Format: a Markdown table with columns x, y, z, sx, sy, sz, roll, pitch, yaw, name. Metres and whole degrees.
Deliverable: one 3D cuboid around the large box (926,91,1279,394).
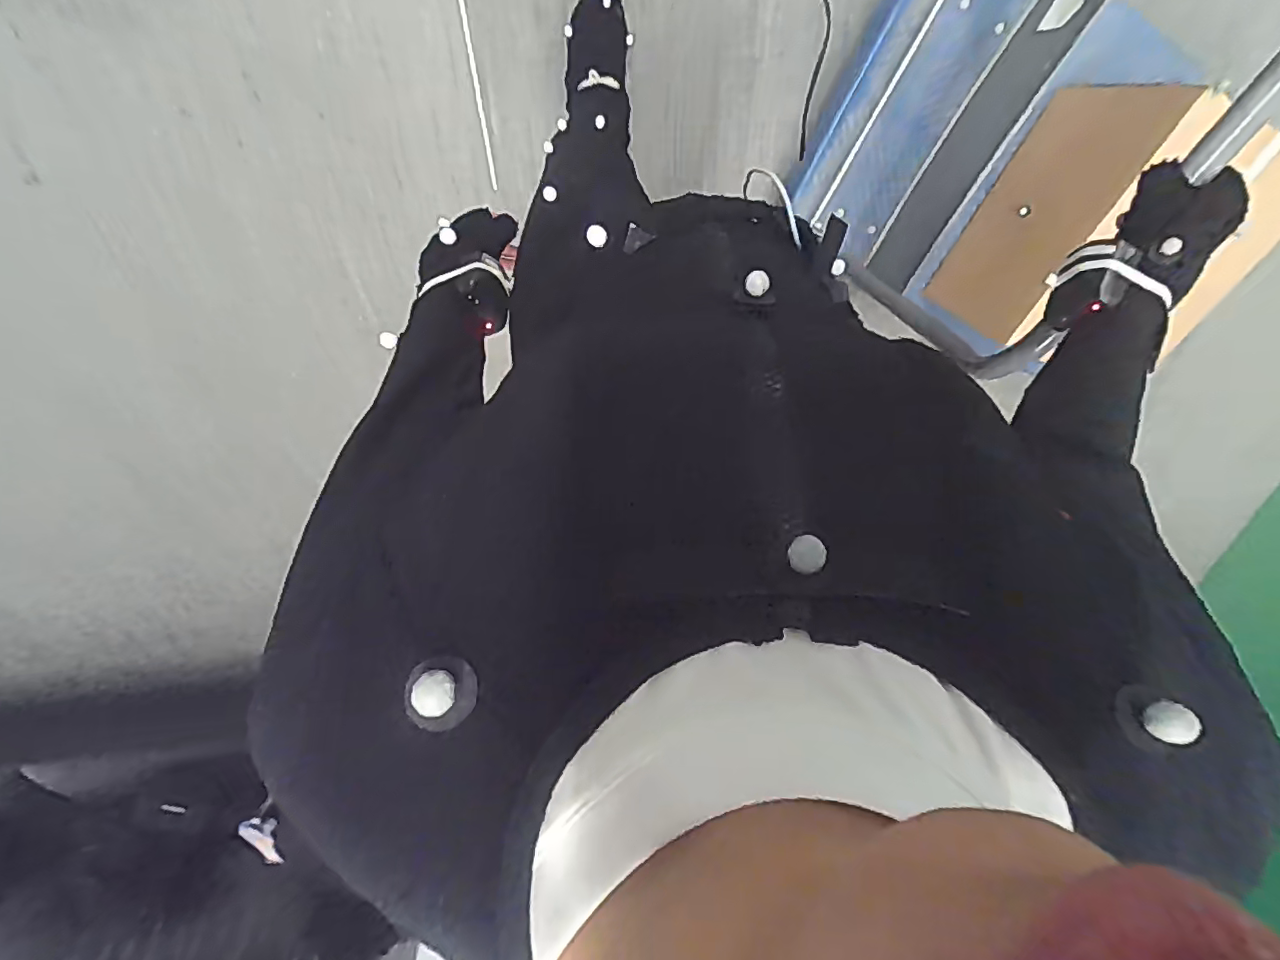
| x | y | z | sx | sy | sz | roll | pitch | yaw | name |
| --- | --- | --- | --- | --- | --- | --- | --- | --- | --- |
| 0.844 | -0.438 | 1.018 | 0.320 | 0.320 | 0.408 | 14 | 123 | -15 | large box |
